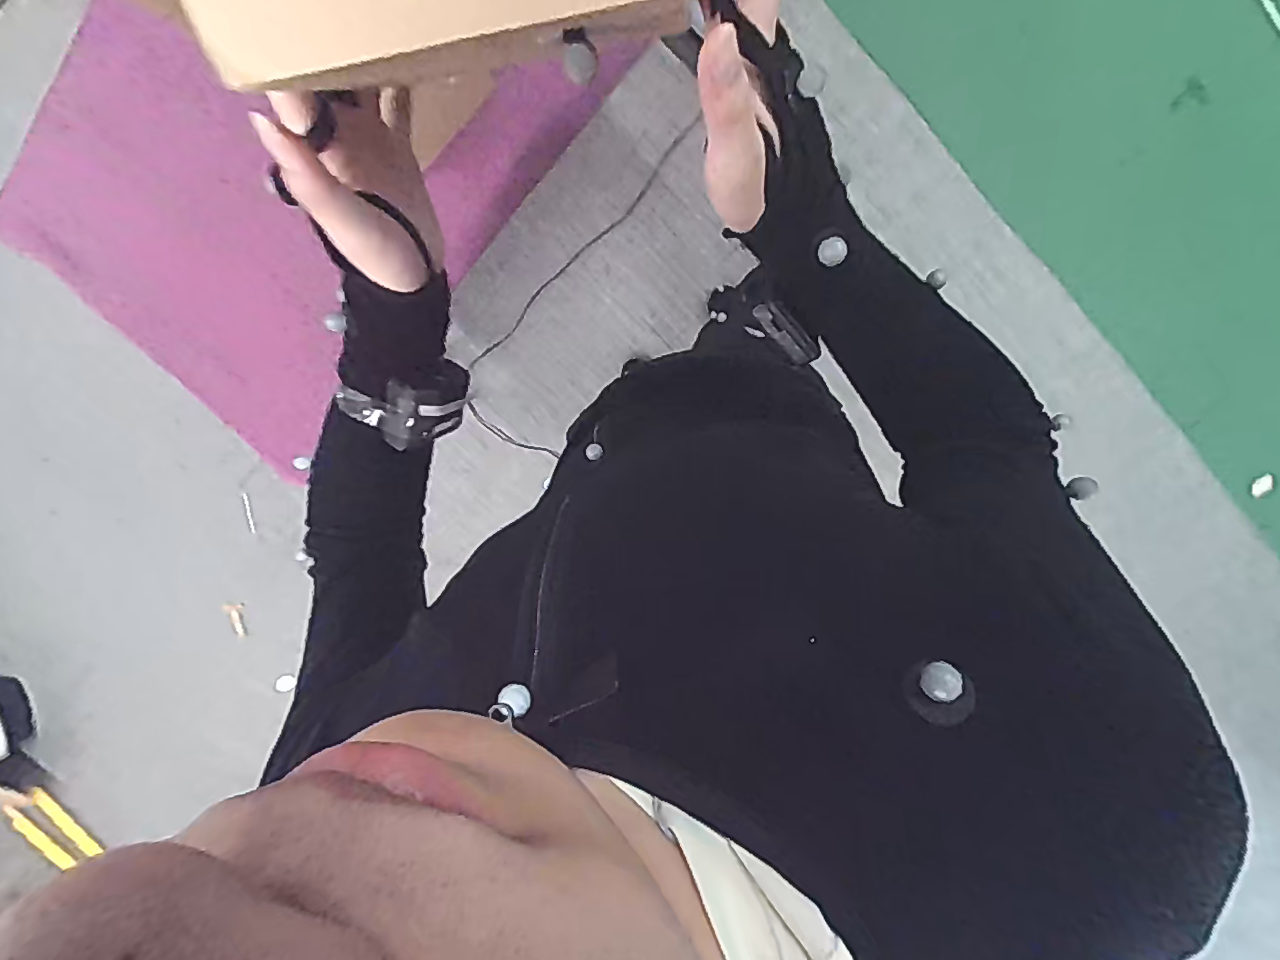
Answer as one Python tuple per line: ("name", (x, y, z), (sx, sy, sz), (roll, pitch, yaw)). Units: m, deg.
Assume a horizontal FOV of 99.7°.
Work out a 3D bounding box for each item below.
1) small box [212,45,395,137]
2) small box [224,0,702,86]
("small box", (-0.347, -0.500, 0.545), (0.179, 0.176, 0.168), (-40, 97, 14))
("small box", (-0.068, -0.273, 0.218), (0.179, 0.176, 0.168), (-3, 124, 9))
